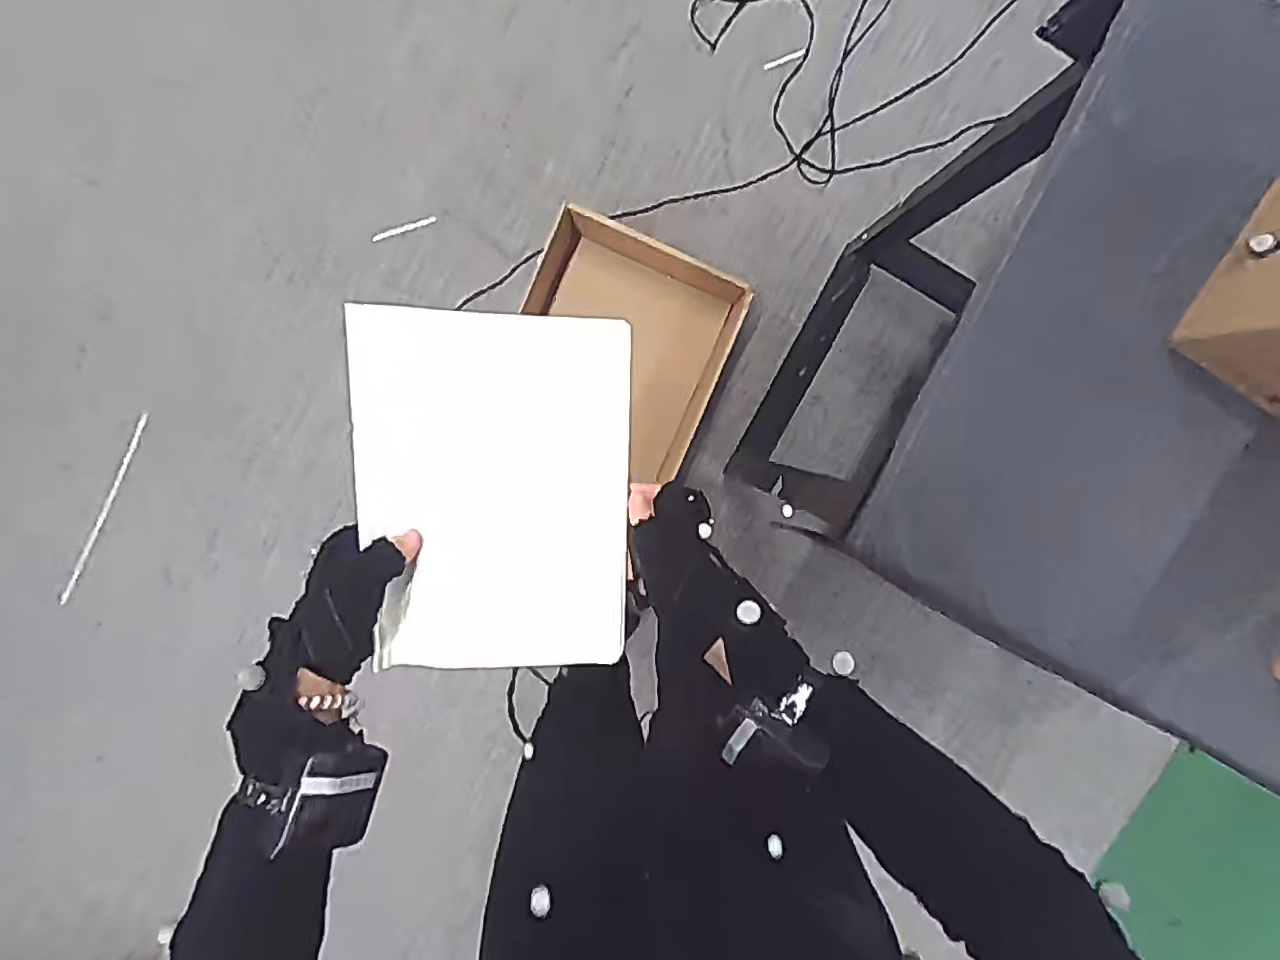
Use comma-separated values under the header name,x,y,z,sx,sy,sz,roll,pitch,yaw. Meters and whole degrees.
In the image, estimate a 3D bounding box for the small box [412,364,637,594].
name,x,y,z,sx,sy,sz,roll,pitch,yaw
small box,-0.095,-0.001,0.524,0.168,0.176,0.179,-8,89,1

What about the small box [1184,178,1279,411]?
name,x,y,z,sx,sy,sz,roll,pitch,yaw
small box,0.603,-0.155,0.423,0.168,0.176,0.179,30,95,-5
